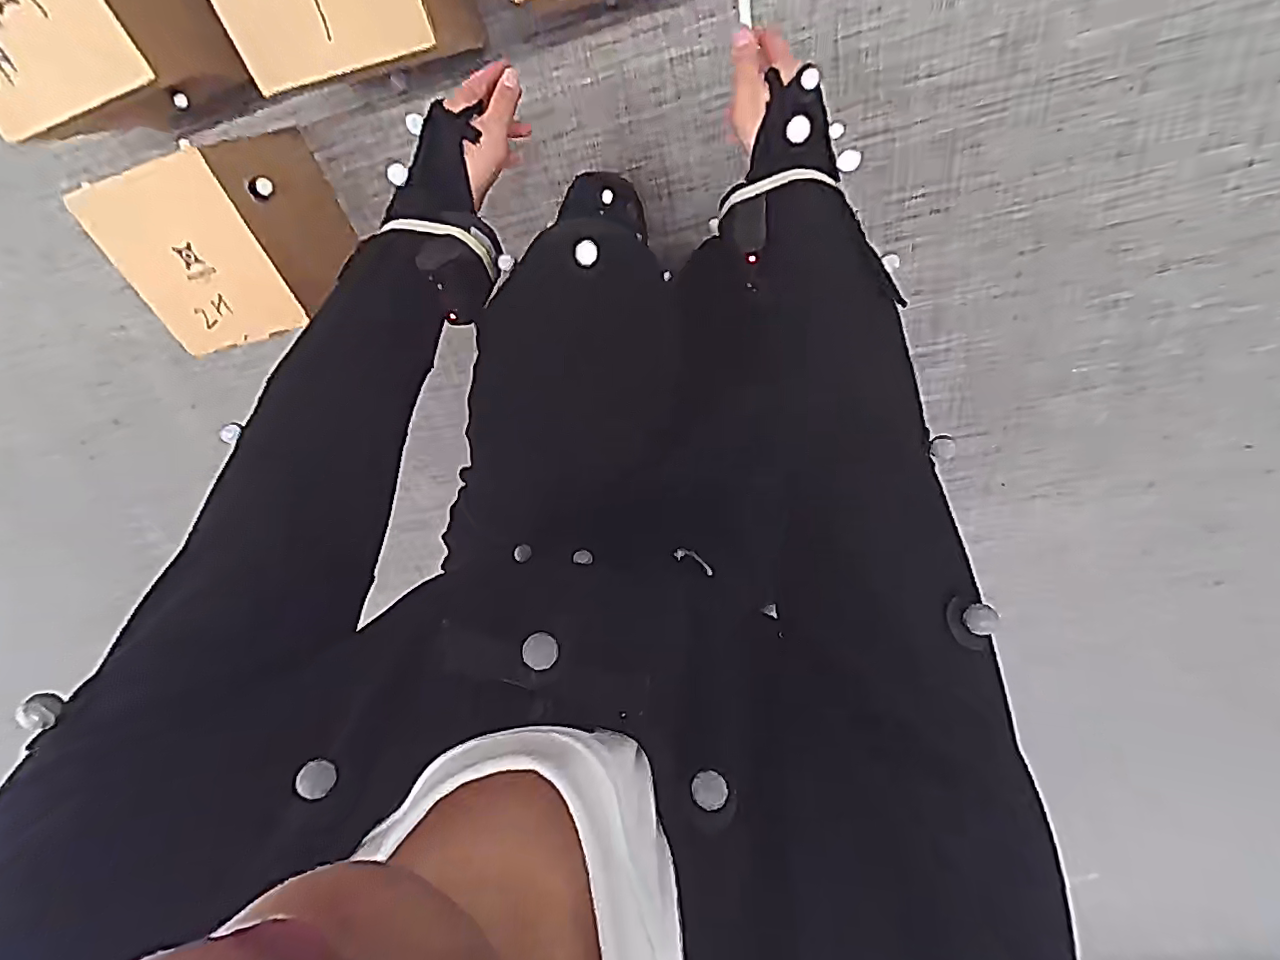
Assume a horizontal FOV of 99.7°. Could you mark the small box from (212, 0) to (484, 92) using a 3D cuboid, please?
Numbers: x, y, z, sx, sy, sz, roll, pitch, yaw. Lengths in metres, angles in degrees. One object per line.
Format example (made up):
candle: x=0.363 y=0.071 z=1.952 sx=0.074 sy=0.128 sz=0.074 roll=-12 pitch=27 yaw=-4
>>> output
small box: x=-0.254 y=-0.452 z=0.453 sx=0.168 sy=0.176 sz=0.179 roll=-8 pitch=129 yaw=9

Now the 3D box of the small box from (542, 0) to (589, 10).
small box: x=-0.036 y=-0.496 z=0.411 sx=0.168 sy=0.176 sz=0.179 roll=-10 pitch=128 yaw=10

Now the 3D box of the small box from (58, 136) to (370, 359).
small box: x=-0.448 y=-0.266 z=0.607 sx=0.168 sy=0.176 sz=0.179 roll=-10 pitch=127 yaw=11
